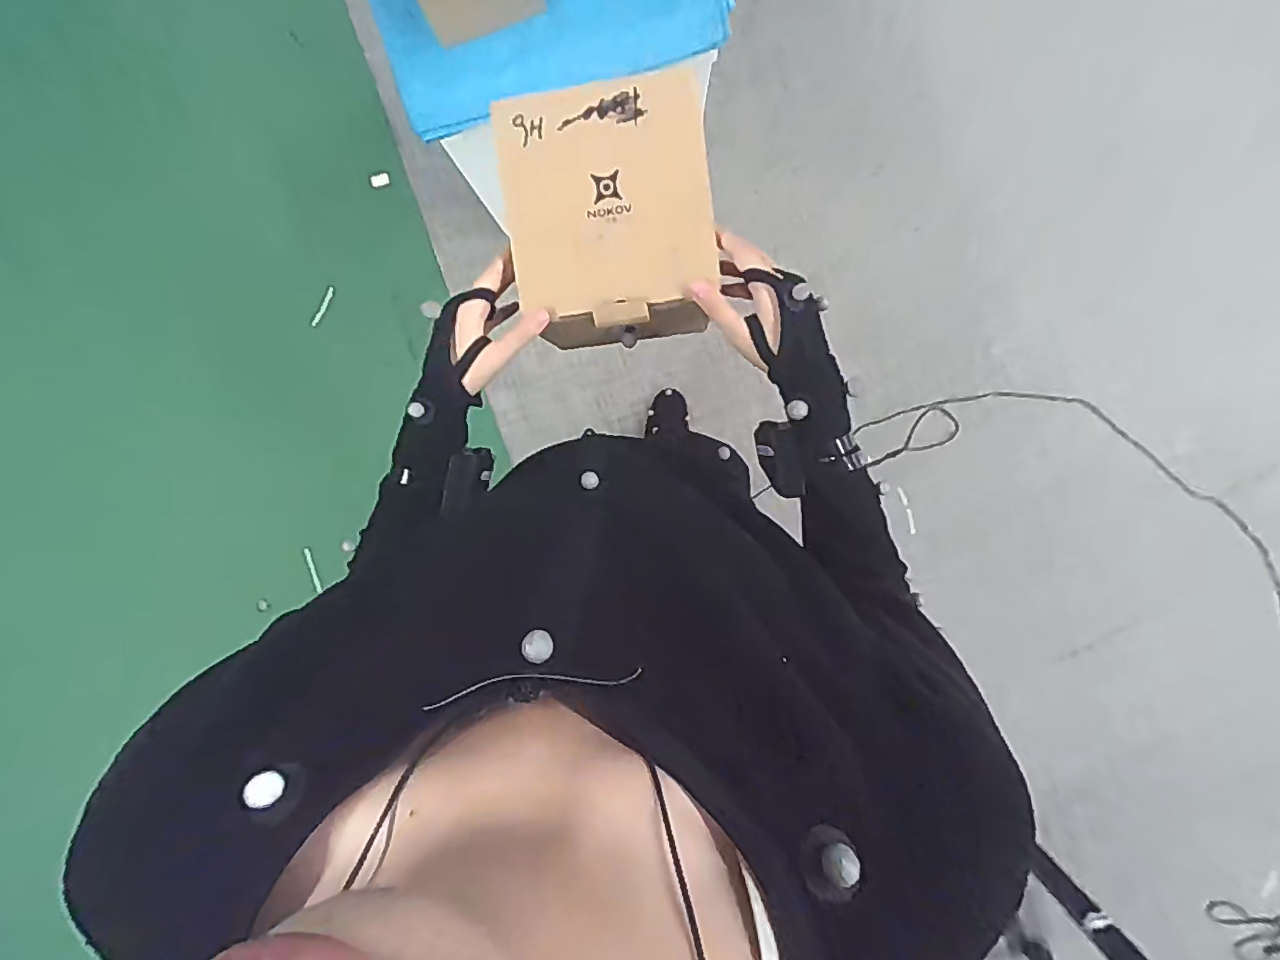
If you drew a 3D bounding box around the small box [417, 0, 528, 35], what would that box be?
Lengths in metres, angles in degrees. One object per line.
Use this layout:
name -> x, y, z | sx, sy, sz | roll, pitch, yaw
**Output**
small box -> -0.256, -0.775, 0.744 | 0.179, 0.176, 0.168 | -18, 94, 2
